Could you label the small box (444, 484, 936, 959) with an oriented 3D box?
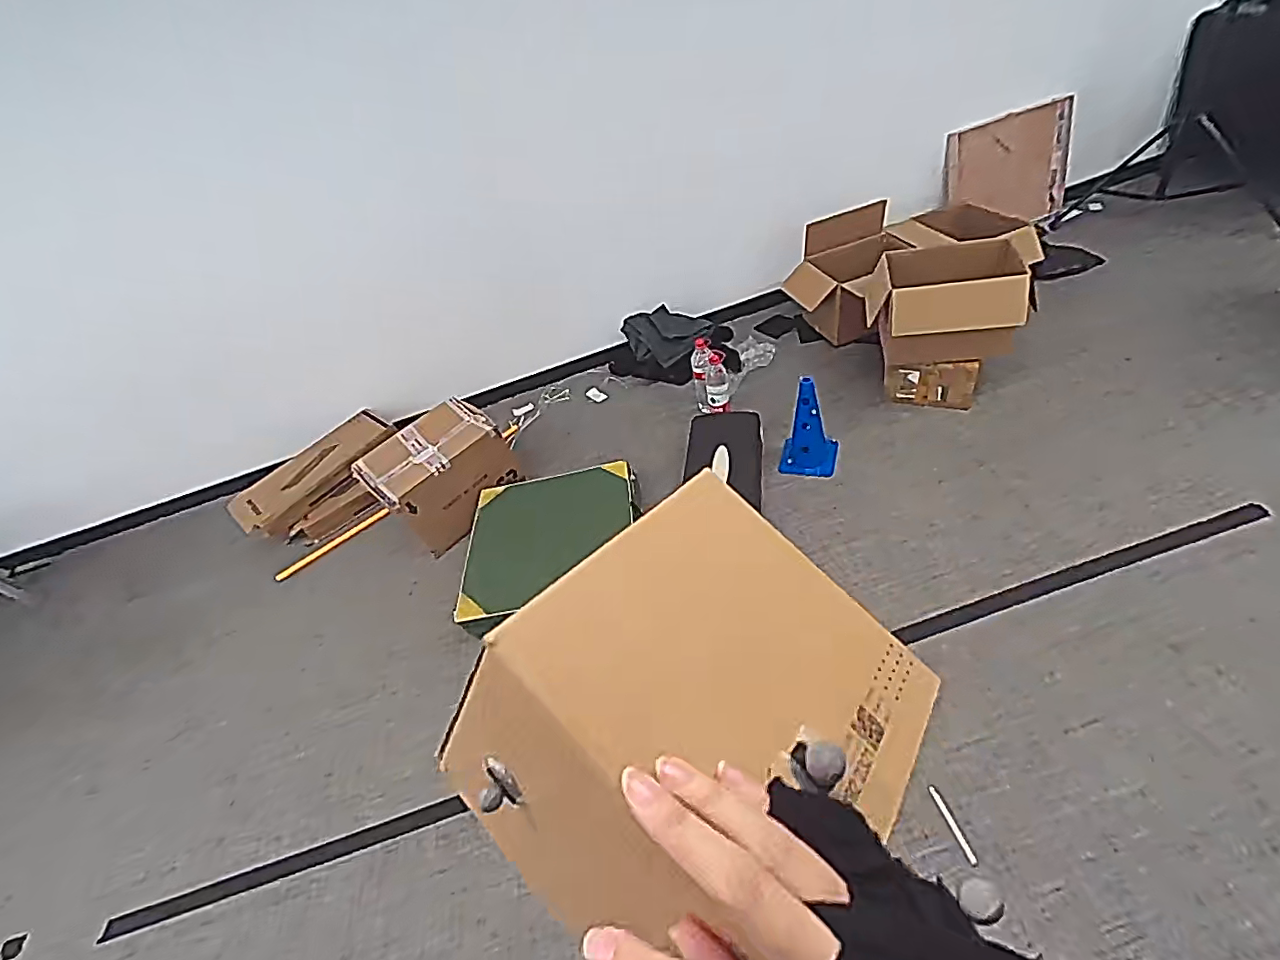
[{"bbox_3d":[0.019,0.142,0.301,0.176,0.179,0.168,43,45,12],"label":"small box"}]
